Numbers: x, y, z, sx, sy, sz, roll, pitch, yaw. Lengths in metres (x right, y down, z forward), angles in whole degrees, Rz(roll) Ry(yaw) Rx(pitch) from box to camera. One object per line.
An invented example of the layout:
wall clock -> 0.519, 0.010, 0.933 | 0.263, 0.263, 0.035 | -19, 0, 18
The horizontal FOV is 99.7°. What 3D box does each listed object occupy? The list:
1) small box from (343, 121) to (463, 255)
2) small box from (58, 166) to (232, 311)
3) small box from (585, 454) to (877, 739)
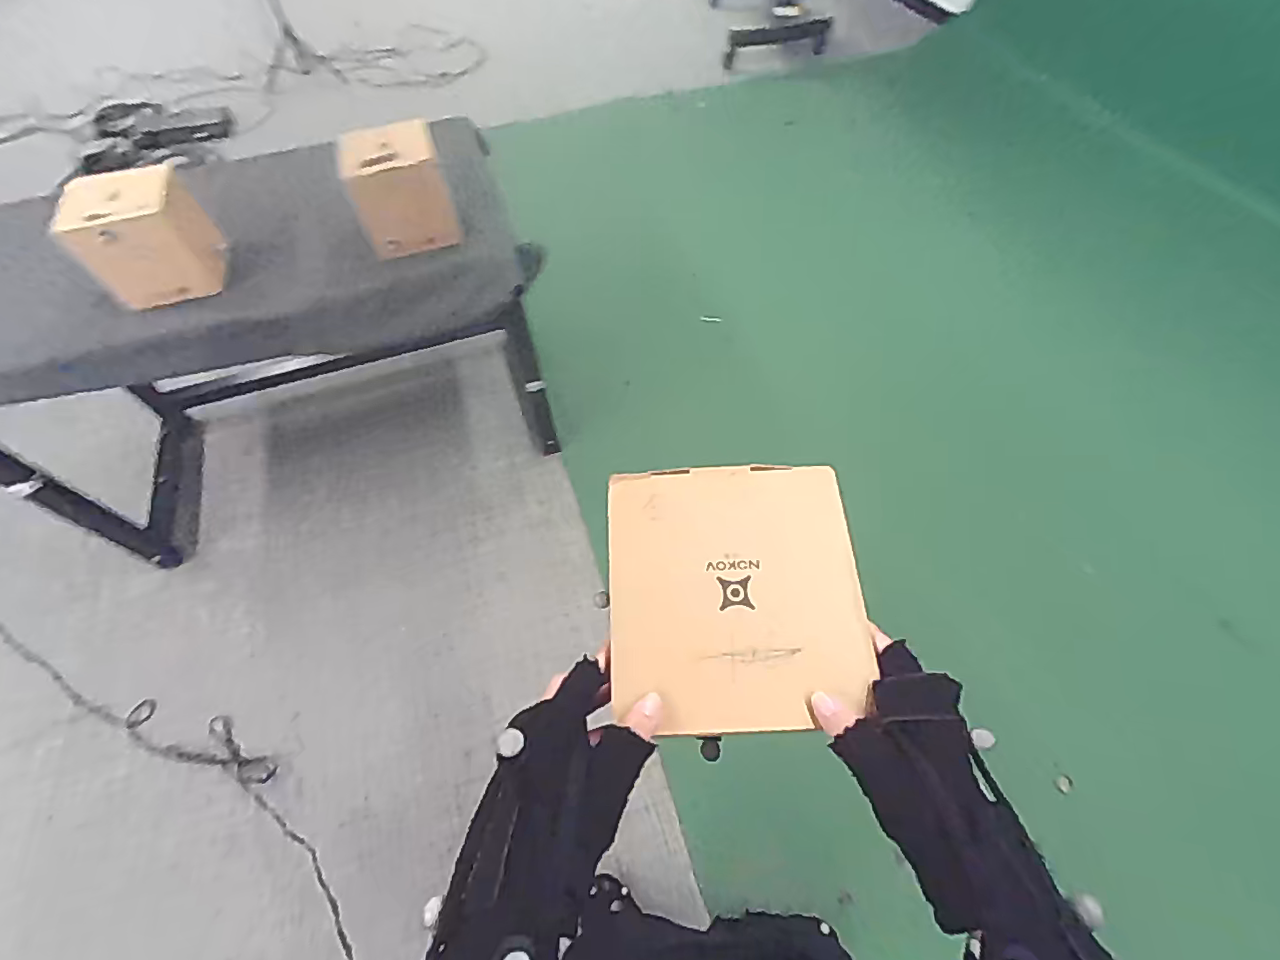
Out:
small box -> -0.465, -0.570, 1.074 | 0.168, 0.176, 0.179 | -17, 57, -8
small box -> -0.905, -0.449, 1.012 | 0.168, 0.176, 0.179 | -17, 58, -9
small box -> 0.052, 0.096, 0.408 | 0.168, 0.176, 0.179 | -1, 64, 1
